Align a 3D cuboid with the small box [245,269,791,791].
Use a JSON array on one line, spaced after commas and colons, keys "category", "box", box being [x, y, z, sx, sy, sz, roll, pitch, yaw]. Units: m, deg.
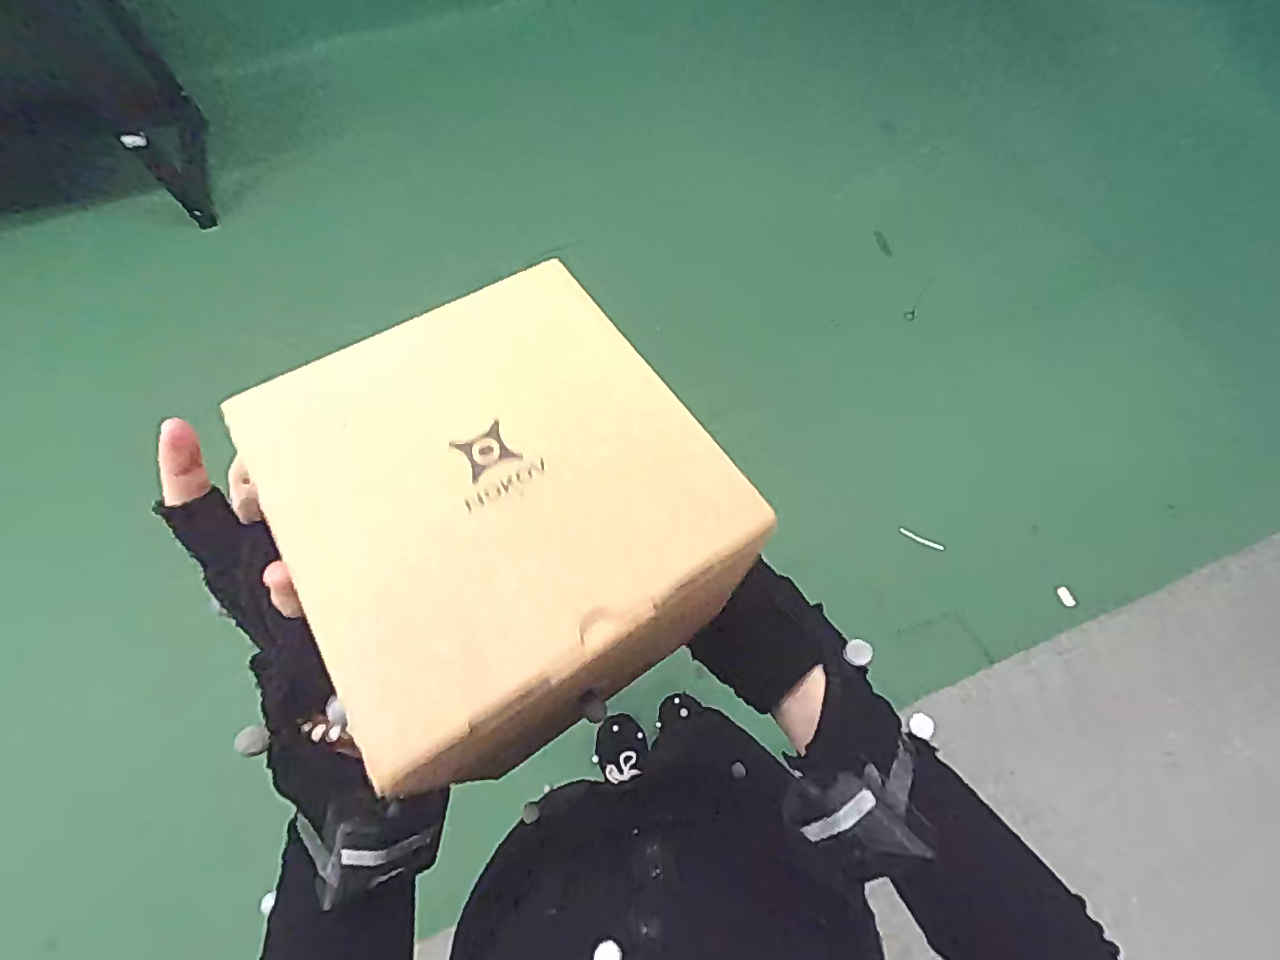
[{"category": "small box", "box": [-0.057, 0.031, 0.294, 0.168, 0.176, 0.179, -31, 72, -15]}]
